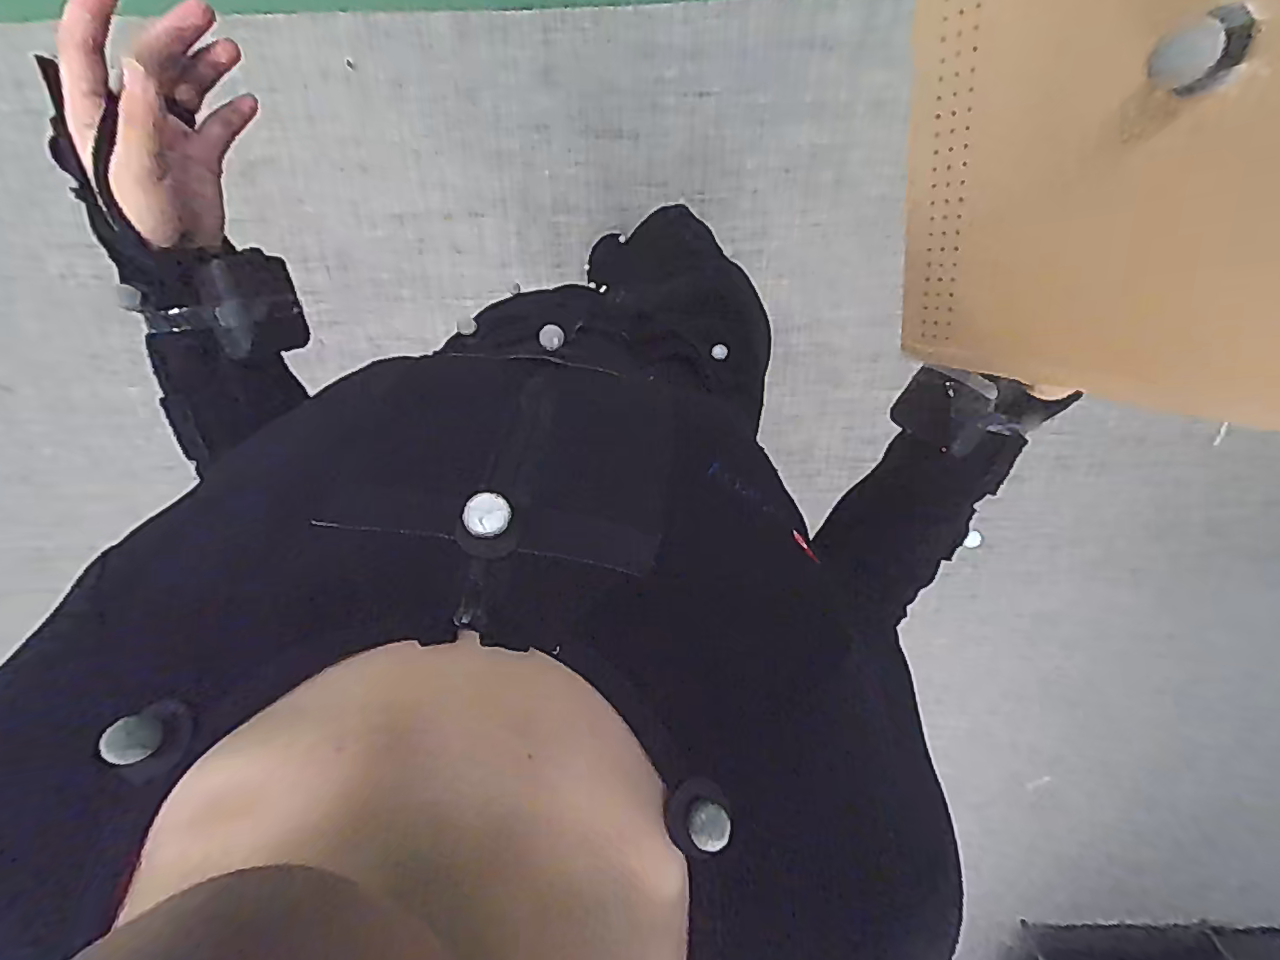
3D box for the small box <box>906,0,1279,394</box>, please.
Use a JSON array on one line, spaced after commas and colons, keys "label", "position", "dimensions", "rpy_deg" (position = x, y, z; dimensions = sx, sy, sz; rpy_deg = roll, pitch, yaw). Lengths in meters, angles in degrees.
[{"label": "small box", "position": [0.226, -0.141, 0.202], "dimensions": [0.168, 0.176, 0.179], "rpy_deg": [-20, 116, -16]}]
